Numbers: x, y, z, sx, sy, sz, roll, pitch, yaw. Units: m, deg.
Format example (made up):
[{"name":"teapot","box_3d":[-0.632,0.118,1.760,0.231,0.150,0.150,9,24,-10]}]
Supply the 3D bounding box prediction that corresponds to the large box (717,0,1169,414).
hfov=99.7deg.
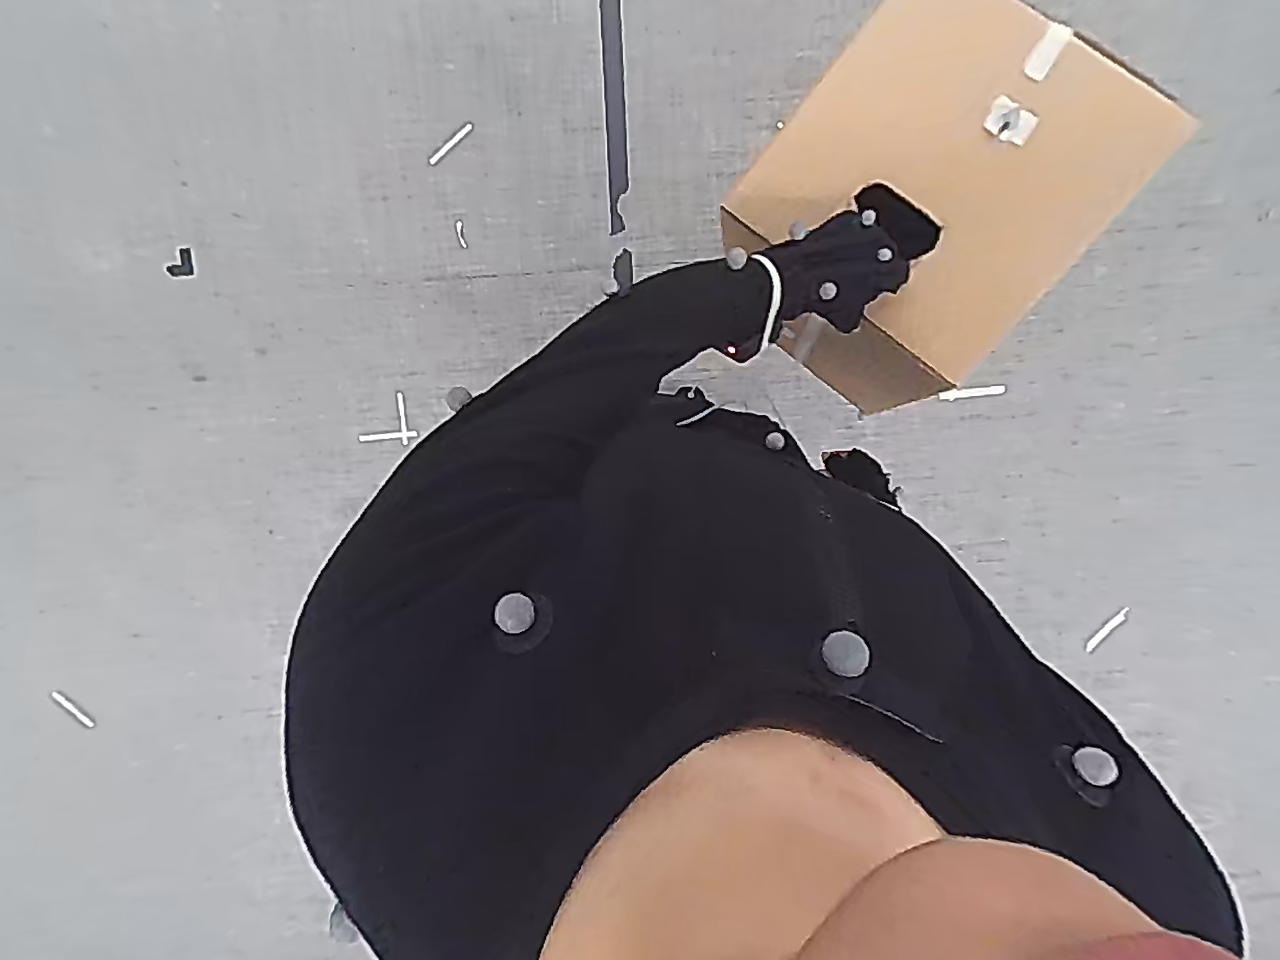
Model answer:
[{"name":"large box","box_3d":[0.336,-0.318,0.733,0.320,0.408,0.320,44,101,7]}]
